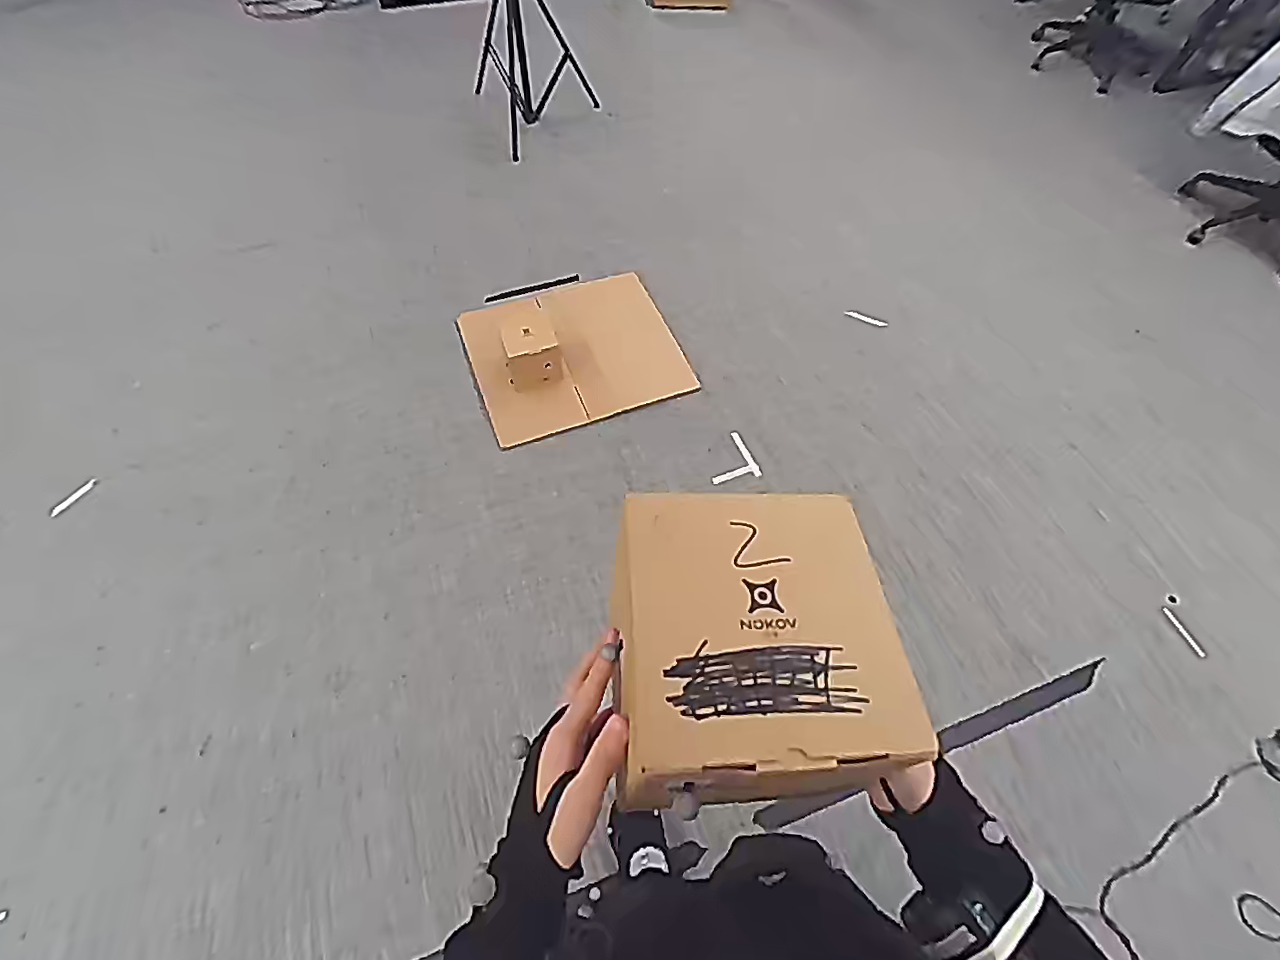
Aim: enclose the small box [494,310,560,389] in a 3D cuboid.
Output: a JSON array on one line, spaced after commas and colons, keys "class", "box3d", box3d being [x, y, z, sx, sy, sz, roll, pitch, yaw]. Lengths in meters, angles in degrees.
[{"class": "small box", "box3d": [-0.365, -0.420, 1.769, 0.168, 0.176, 0.179, -17, 63, -14]}]
